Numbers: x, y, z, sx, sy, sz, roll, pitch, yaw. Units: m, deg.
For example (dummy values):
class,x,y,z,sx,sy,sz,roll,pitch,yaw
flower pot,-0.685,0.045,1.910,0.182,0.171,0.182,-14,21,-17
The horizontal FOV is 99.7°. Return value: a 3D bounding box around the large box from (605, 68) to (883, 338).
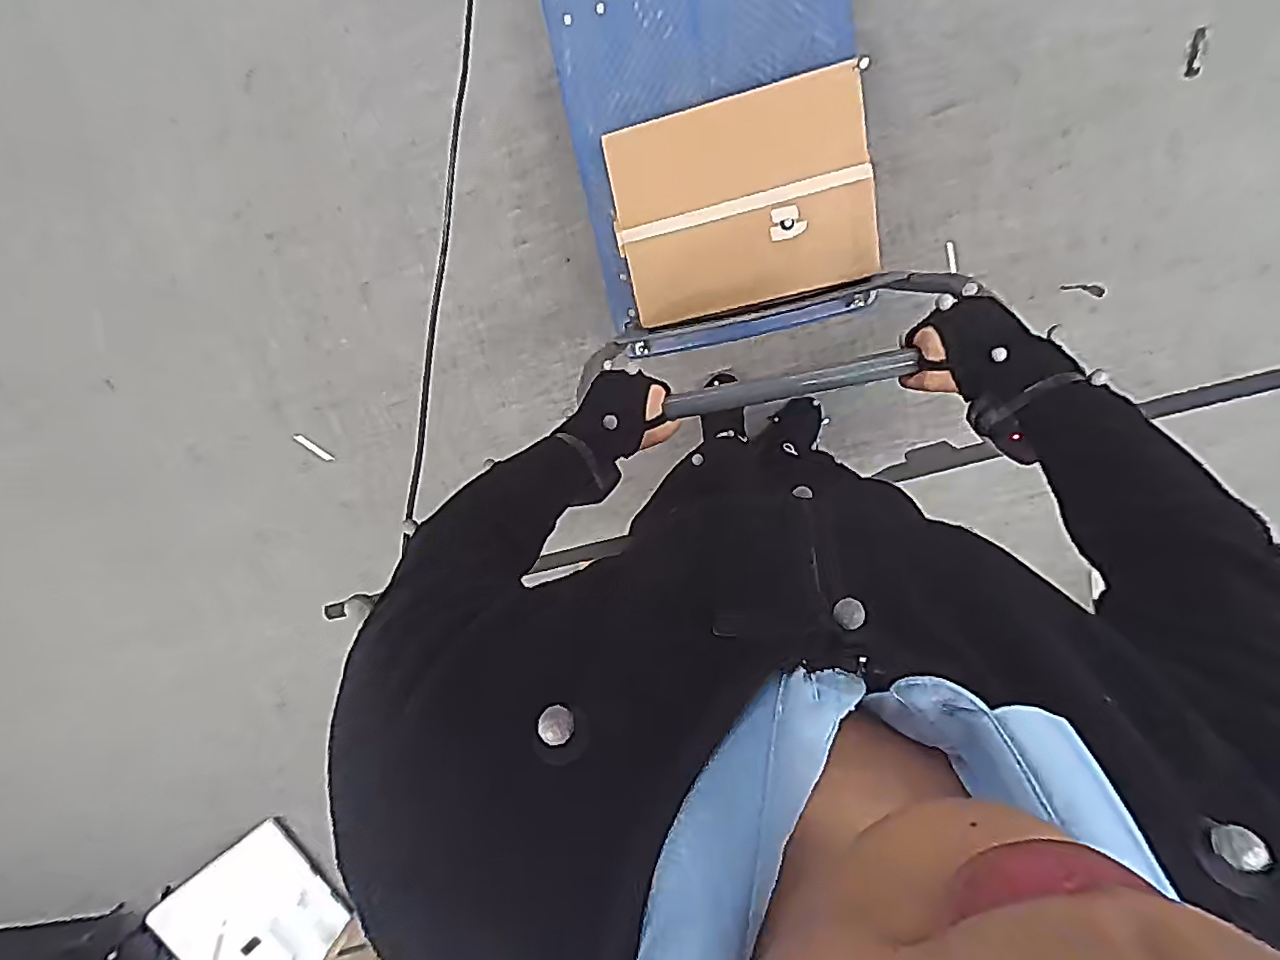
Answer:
class,x,y,z,sx,sy,sz,roll,pitch,yaw
large box,0.184,-0.468,1.011,0.408,0.320,0.320,-11,105,10
